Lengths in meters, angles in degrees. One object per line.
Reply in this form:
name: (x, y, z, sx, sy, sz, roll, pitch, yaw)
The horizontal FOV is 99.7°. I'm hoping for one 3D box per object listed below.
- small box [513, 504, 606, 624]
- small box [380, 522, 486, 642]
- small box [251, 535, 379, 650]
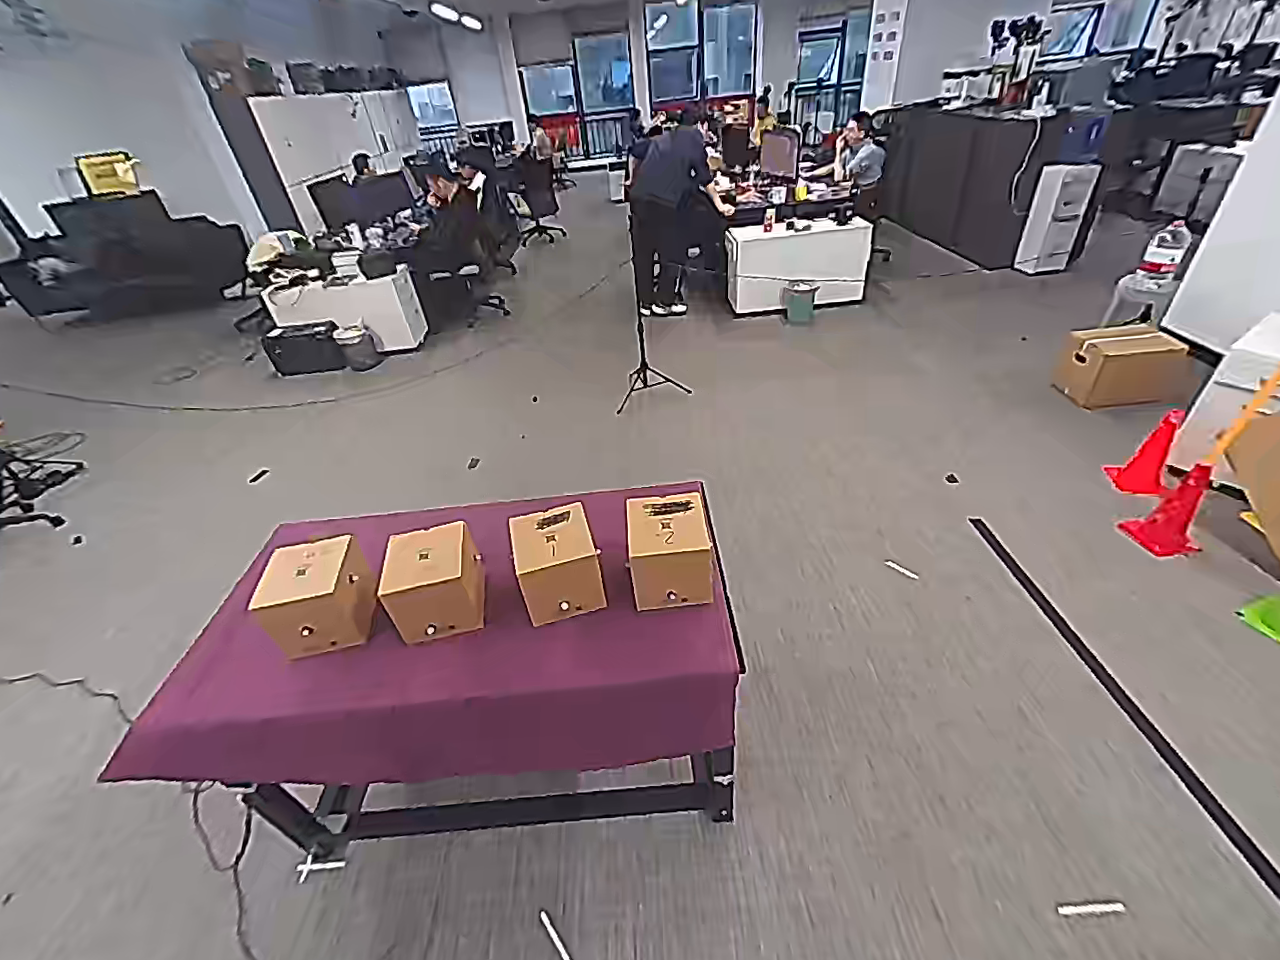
small box: (-0.177, 0.184, 1.192, 0.168, 0.176, 0.179, -13, 38, -9)
small box: (-0.441, 0.222, 1.183, 0.168, 0.176, 0.179, -12, 37, -6)
small box: (-0.693, 0.250, 1.180, 0.168, 0.176, 0.179, -10, 37, -6)
